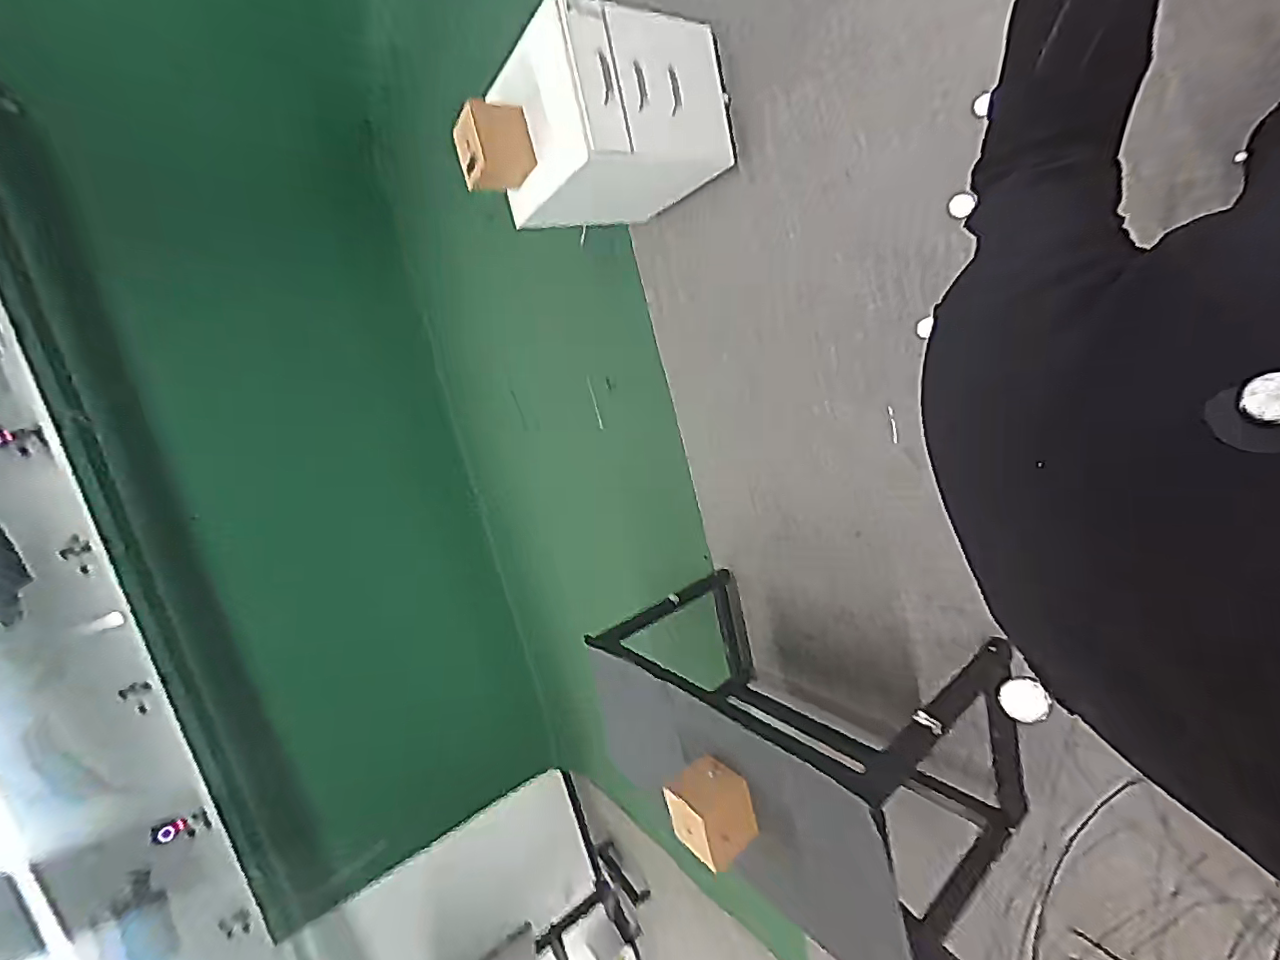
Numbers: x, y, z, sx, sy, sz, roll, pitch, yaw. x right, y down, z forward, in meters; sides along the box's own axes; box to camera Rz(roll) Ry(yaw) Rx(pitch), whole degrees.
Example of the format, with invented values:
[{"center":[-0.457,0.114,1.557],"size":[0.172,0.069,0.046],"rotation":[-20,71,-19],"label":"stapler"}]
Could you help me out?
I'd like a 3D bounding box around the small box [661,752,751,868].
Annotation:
[{"center":[0.186,0.900,1.492],"size":[0.168,0.176,0.179],"rotation":[4,110,55],"label":"small box"}]
